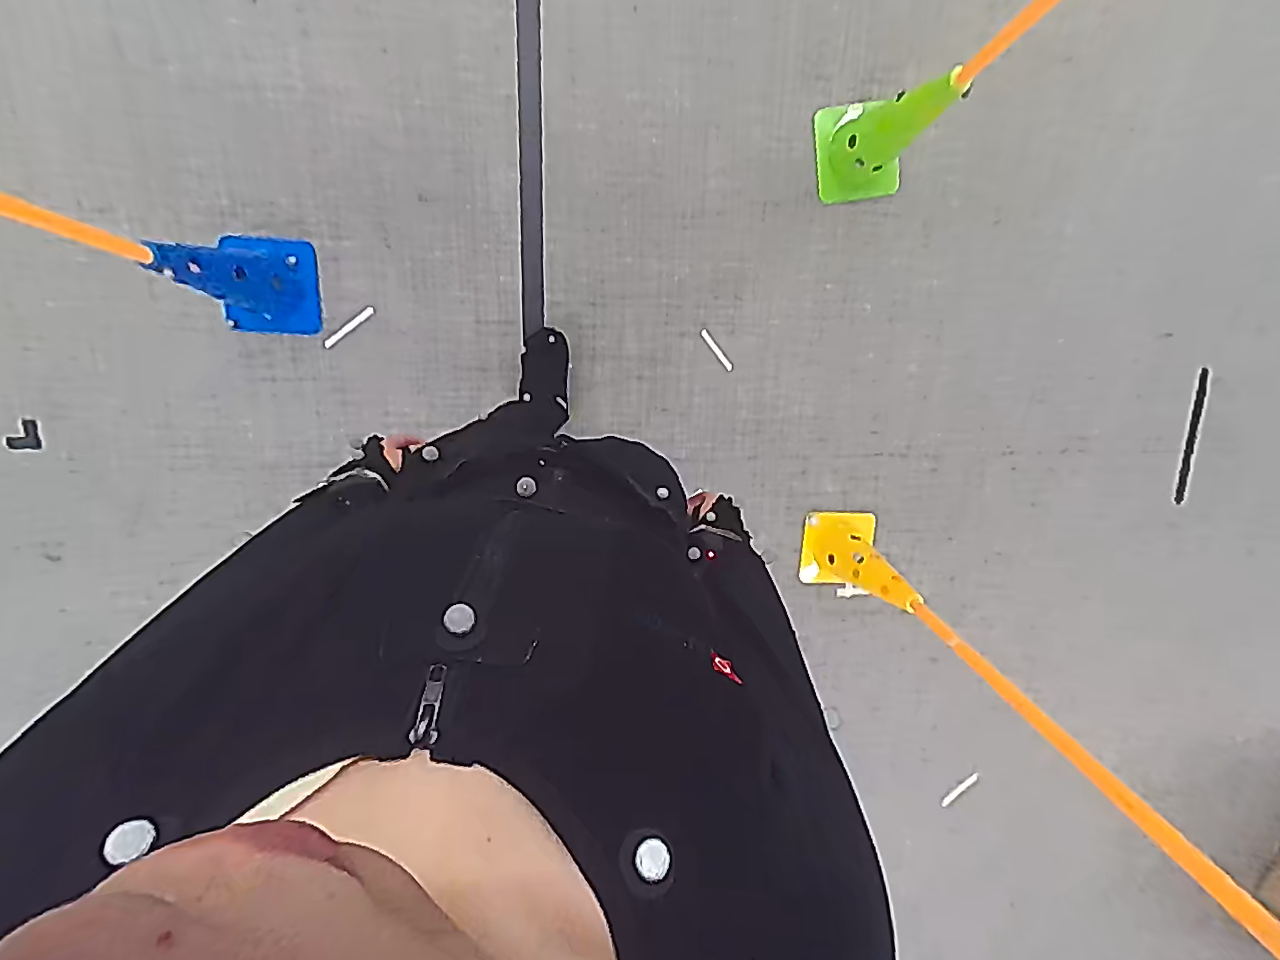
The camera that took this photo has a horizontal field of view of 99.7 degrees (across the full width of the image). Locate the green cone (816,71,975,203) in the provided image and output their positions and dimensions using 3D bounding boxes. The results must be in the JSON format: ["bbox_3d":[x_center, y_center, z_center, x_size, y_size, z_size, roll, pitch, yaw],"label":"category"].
[{"bbox_3d":[0.528,-0.723,1.092,0.200,0.368,0.202,-11,105,-4],"label":"green cone"}]

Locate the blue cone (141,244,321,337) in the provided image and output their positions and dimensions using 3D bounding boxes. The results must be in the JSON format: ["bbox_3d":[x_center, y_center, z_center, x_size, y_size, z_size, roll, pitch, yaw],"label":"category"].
[{"bbox_3d":[-0.791,-0.379,1.032,0.193,0.380,0.192,2,102,-7],"label":"blue cone"}]
